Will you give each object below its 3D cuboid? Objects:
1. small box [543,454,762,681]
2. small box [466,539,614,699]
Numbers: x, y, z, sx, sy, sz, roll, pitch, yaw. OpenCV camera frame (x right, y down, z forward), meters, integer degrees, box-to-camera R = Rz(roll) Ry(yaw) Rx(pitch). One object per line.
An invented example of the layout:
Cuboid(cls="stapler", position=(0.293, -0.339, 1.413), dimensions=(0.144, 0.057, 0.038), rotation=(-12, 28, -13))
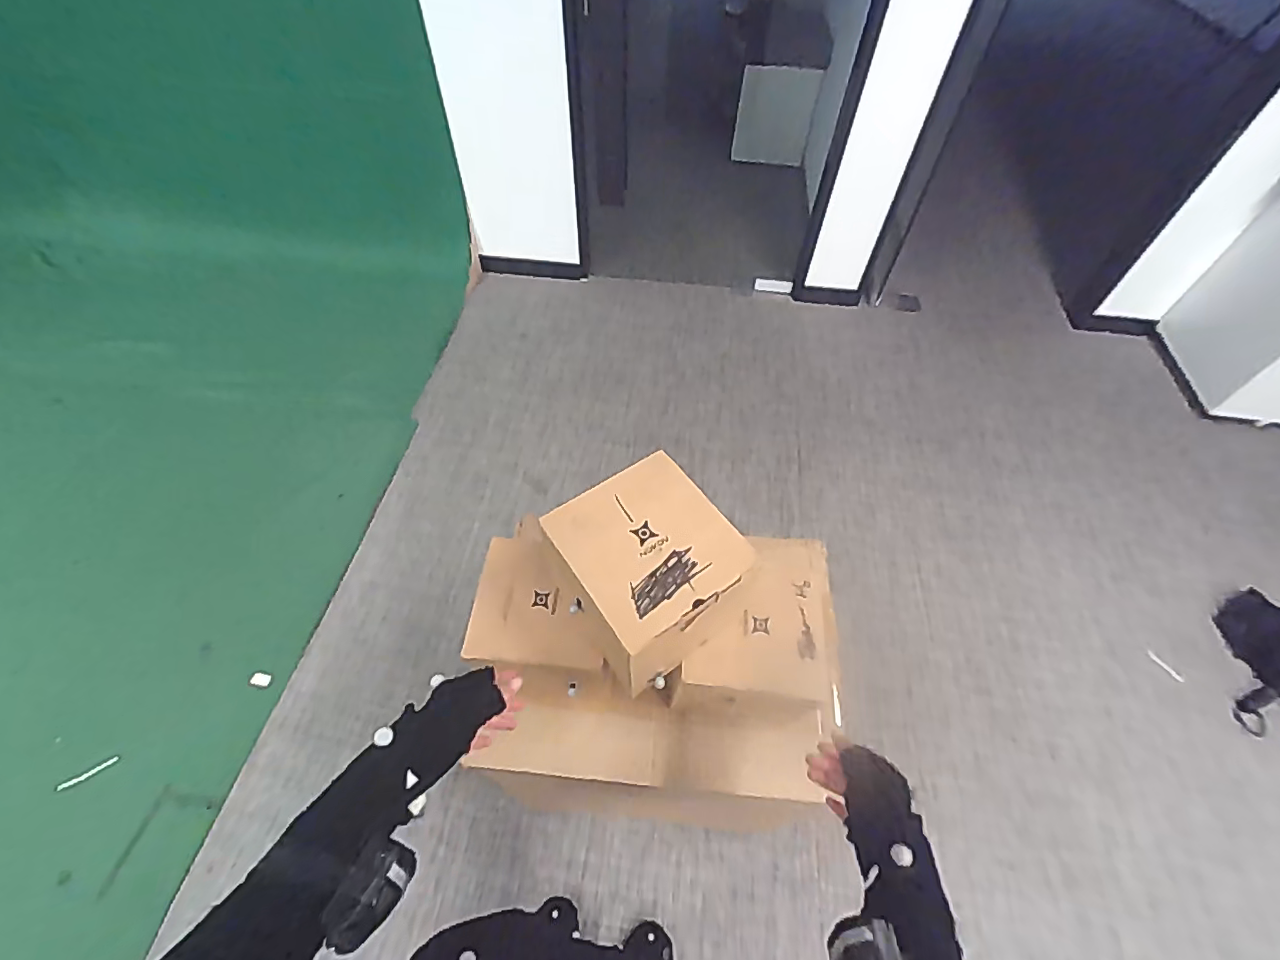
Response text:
Cuboid(cls="small box", position=(0.011, 0.109, 0.625), dimensions=(0.168, 0.176, 0.179), rotation=(-29, 61, -20))
Cuboid(cls="small box", position=(-0.119, 0.200, 0.758), dimensions=(0.179, 0.176, 0.168), rotation=(4, 55, 2))
